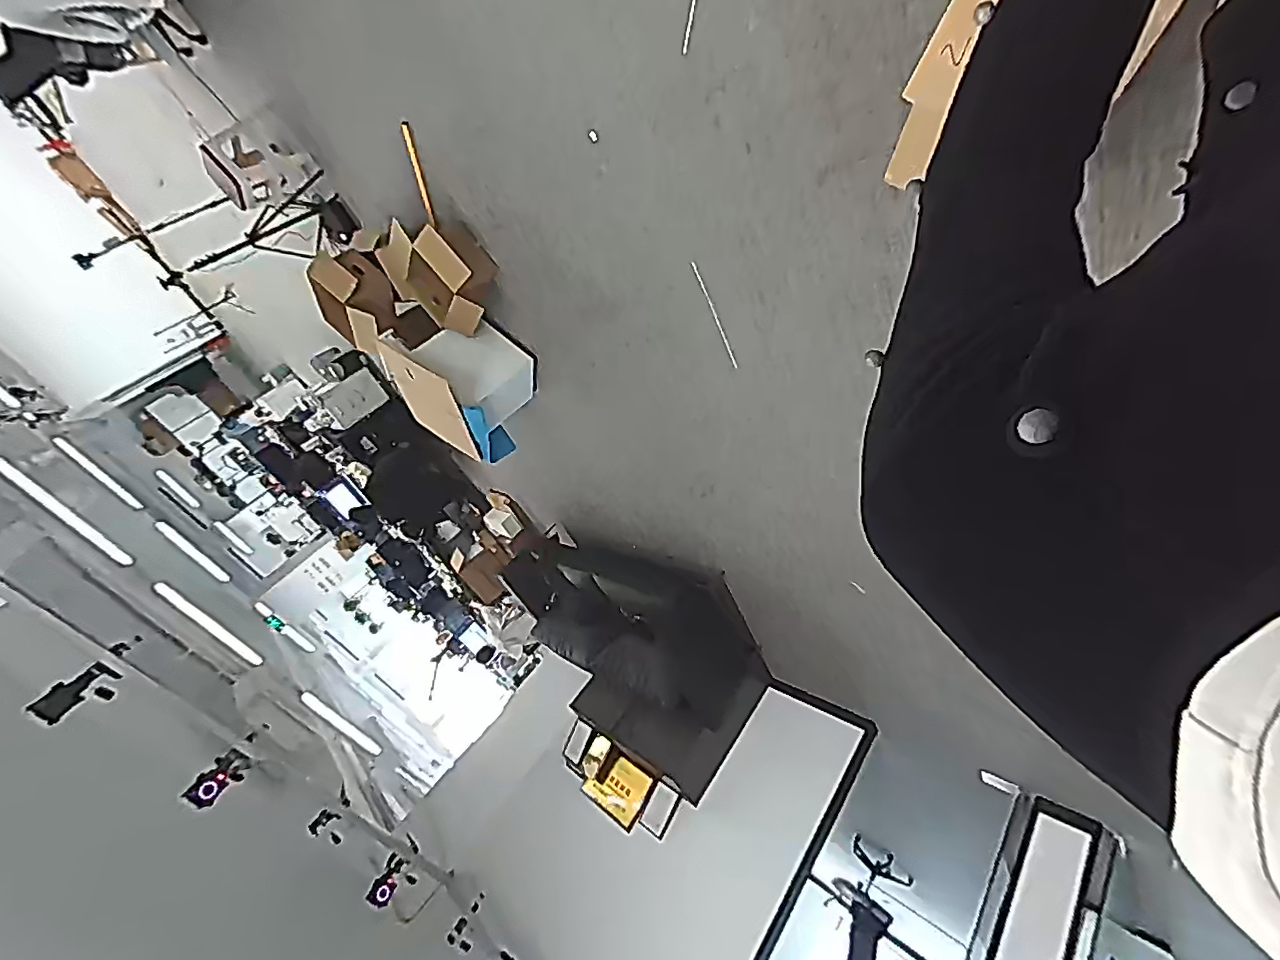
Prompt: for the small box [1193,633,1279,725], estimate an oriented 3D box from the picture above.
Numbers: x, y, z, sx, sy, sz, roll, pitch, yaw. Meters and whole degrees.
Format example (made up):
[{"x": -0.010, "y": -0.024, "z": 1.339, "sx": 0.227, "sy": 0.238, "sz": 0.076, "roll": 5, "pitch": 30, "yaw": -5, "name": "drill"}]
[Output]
[{"x": 1.776, "y": 0.579, "z": 1.601, "sx": 0.179, "sy": 0.176, "sz": 0.168, "roll": 5, "pitch": 133, "yaw": 50, "name": "small box"}]
